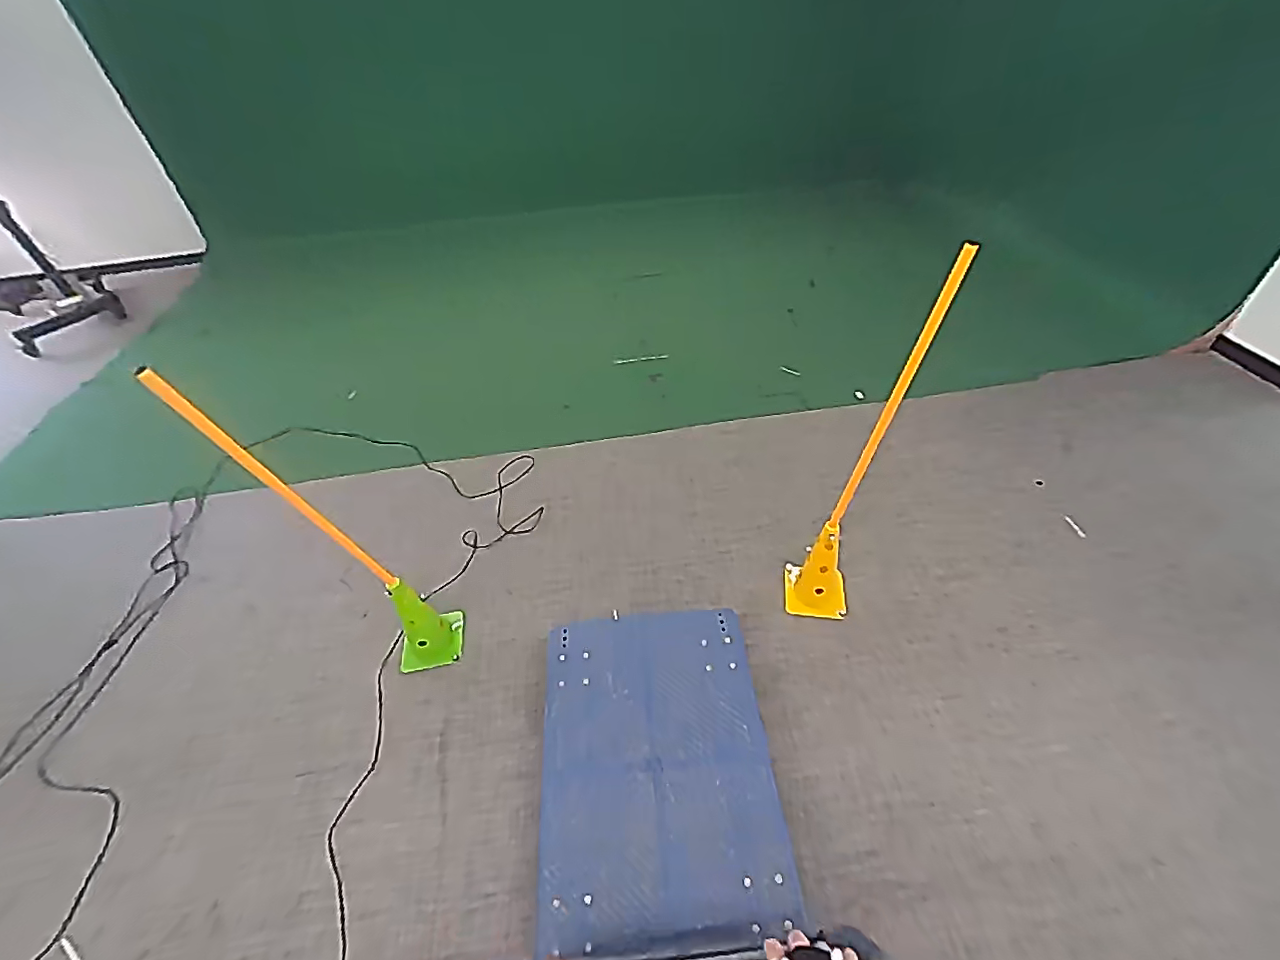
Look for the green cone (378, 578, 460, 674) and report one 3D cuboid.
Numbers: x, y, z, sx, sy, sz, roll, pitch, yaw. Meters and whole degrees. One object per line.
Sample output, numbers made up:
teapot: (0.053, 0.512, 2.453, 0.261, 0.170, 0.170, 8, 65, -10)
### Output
green cone: (-0.733, 0.428, 1.723, 0.202, 0.368, 0.200, -12, 44, -4)
